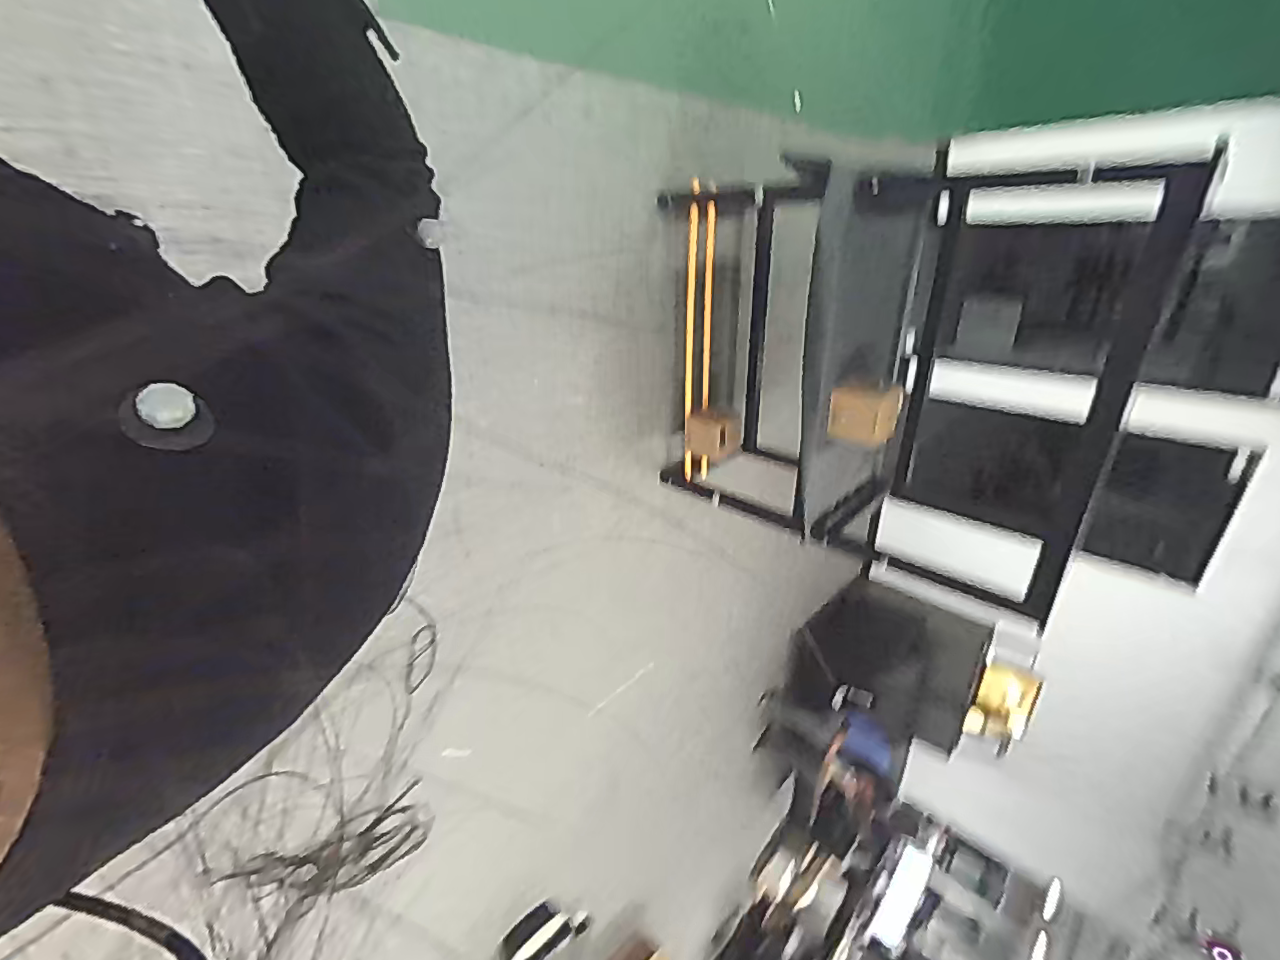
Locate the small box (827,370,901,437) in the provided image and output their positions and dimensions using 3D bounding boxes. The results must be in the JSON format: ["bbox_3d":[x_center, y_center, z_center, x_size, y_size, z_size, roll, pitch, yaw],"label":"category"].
[{"bbox_3d":[0.753,-0.265,1.825,0.179,0.176,0.168,-28,126,-39],"label":"small box"}]
